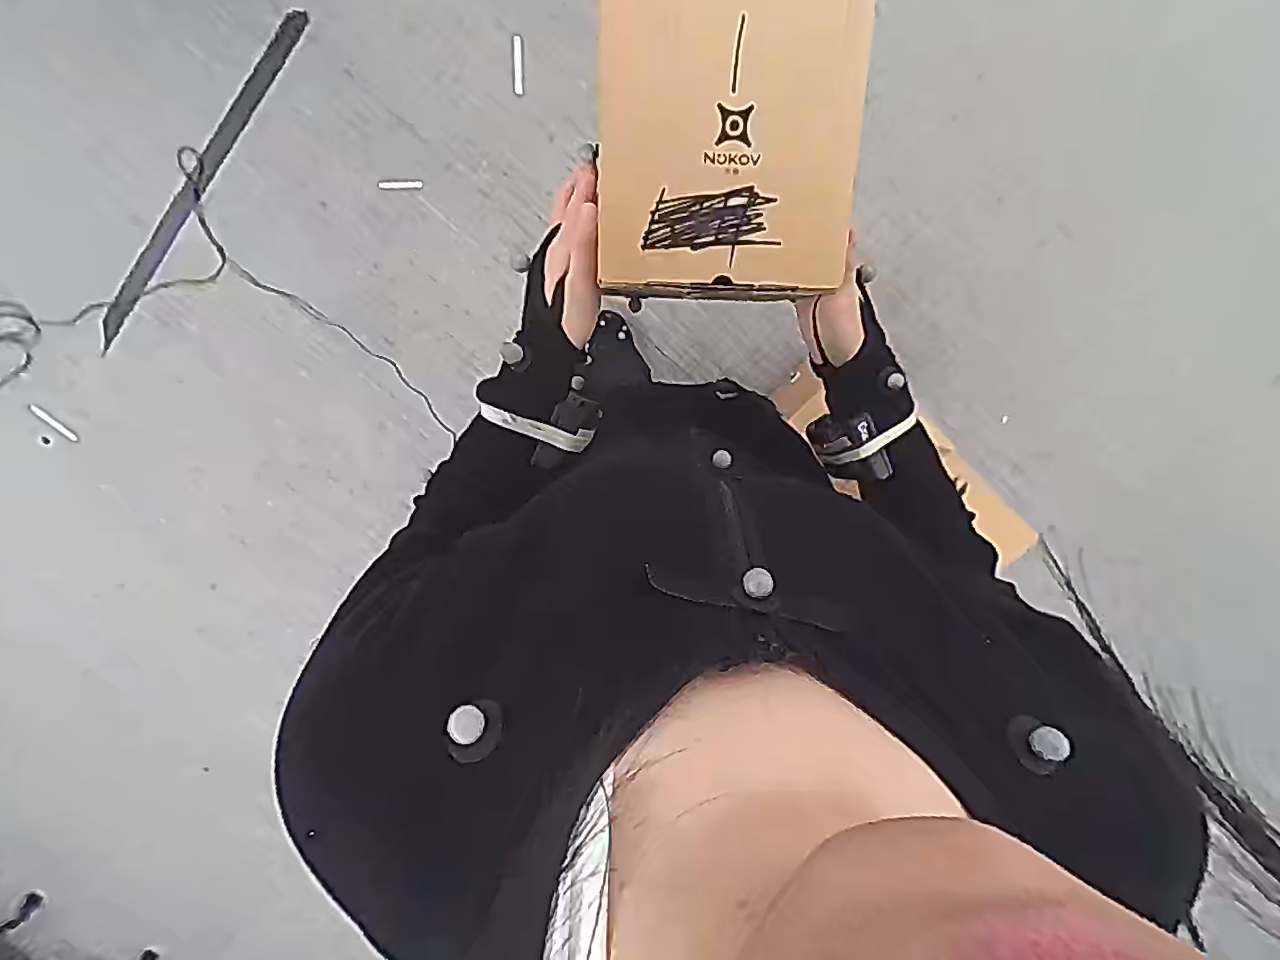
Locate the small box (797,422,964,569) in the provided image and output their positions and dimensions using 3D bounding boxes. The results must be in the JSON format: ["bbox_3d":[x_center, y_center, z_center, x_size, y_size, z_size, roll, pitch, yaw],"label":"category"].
[{"bbox_3d":[0.406,0.016,0.943,0.179,0.176,0.168,41,102,-7],"label":"small box"}]

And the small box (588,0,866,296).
[{"bbox_3d":[0.046,-0.238,0.413,0.168,0.176,0.179,0,105,-4],"label":"small box"}]

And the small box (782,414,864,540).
[{"bbox_3d":[0.415,-0.016,1.102,0.168,0.176,0.179,40,103,-7],"label":"small box"}]
